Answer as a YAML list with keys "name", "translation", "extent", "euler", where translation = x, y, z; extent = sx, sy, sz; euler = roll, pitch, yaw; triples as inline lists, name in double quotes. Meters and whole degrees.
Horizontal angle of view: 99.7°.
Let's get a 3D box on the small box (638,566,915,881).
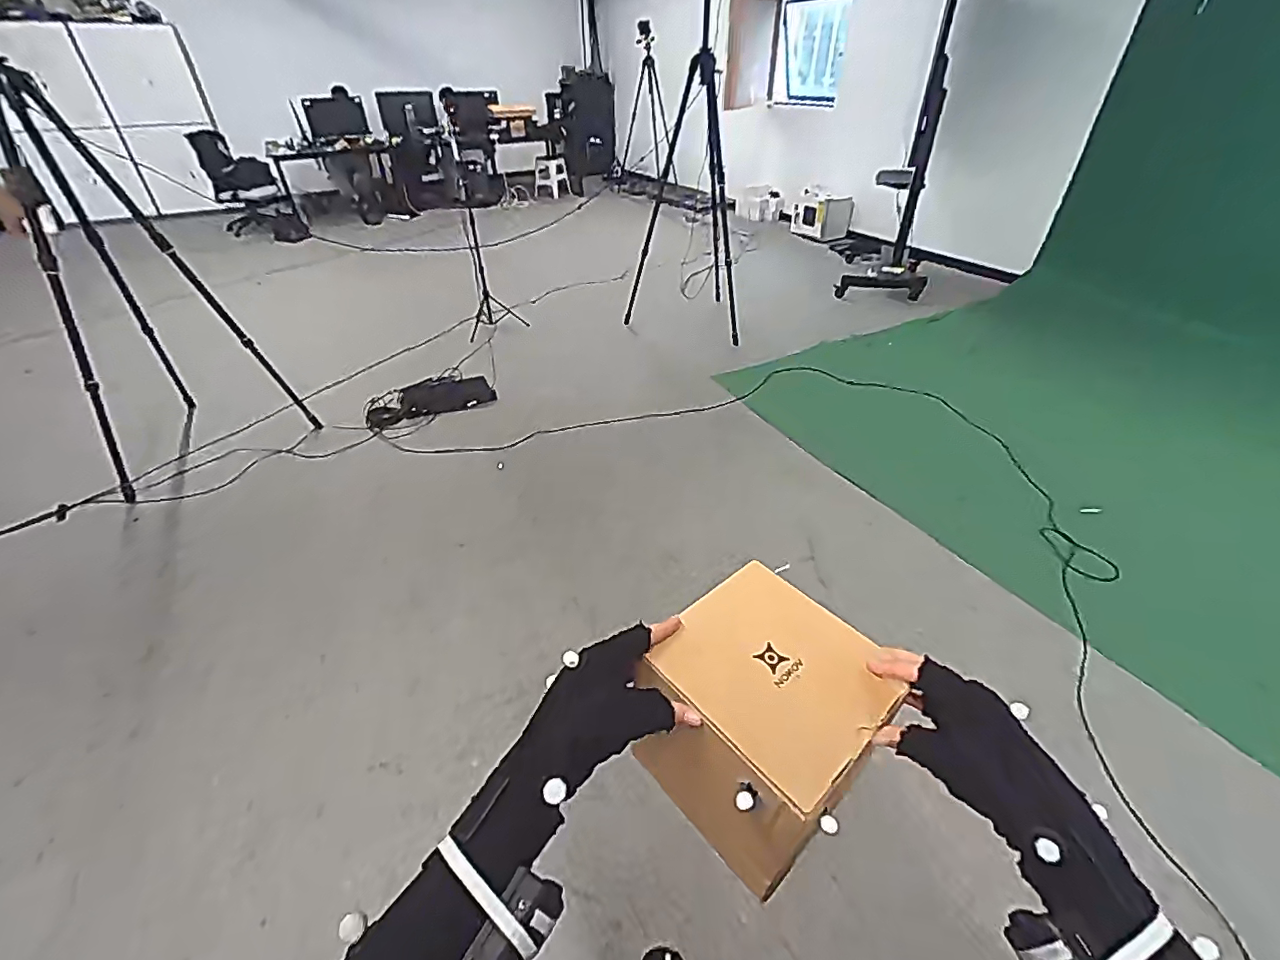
- name: "small box"
  translation: [0.112, 0.220, 0.509]
  extent: [0.168, 0.176, 0.179]
  euler: [-26, 46, -34]
